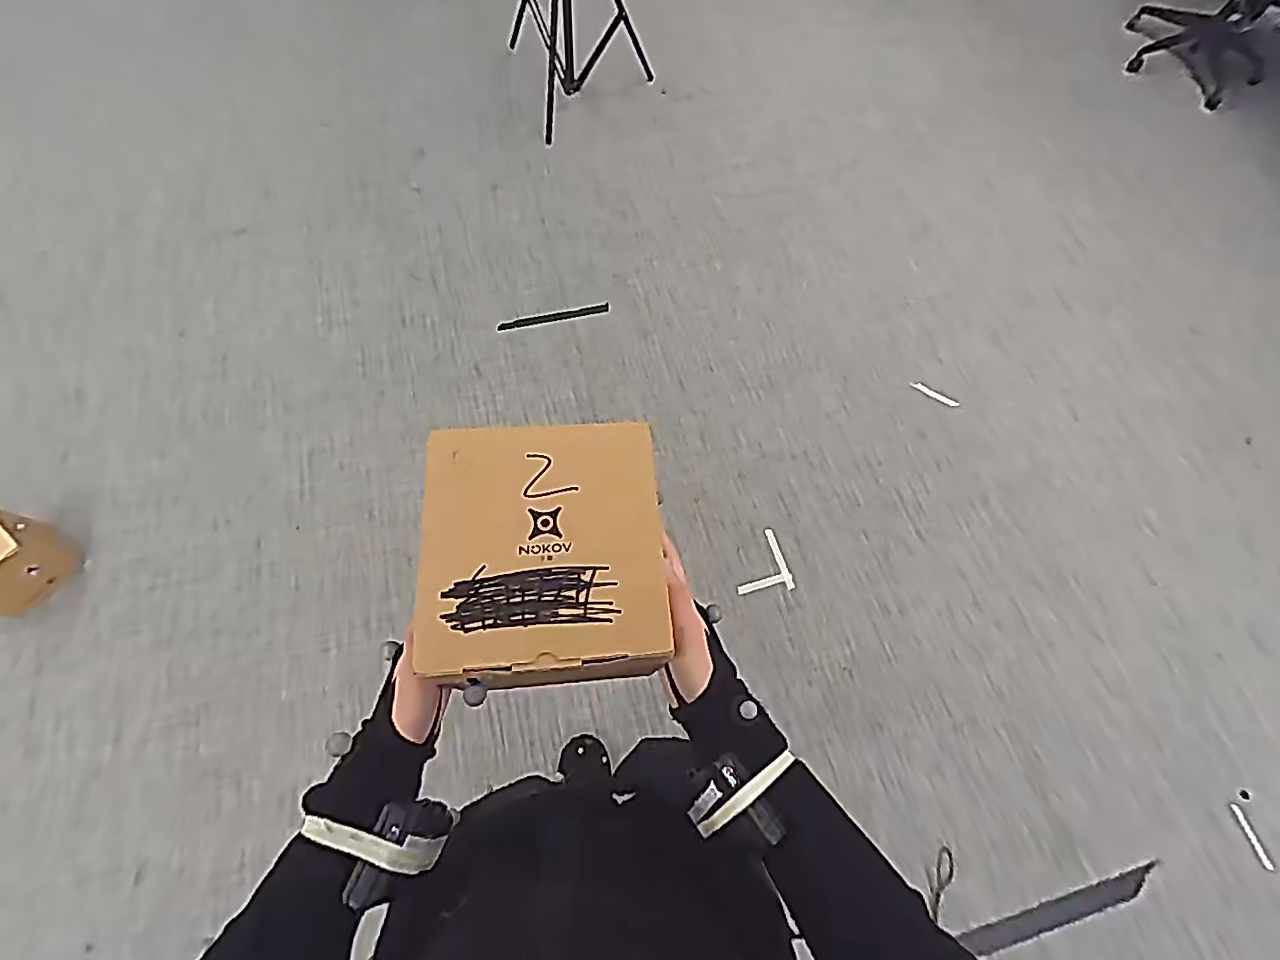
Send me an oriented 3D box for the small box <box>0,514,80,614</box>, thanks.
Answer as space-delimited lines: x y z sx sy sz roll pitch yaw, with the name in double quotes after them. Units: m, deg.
-1.500 0.195 1.268 0.179 0.176 0.168 36 68 12 "small box"
